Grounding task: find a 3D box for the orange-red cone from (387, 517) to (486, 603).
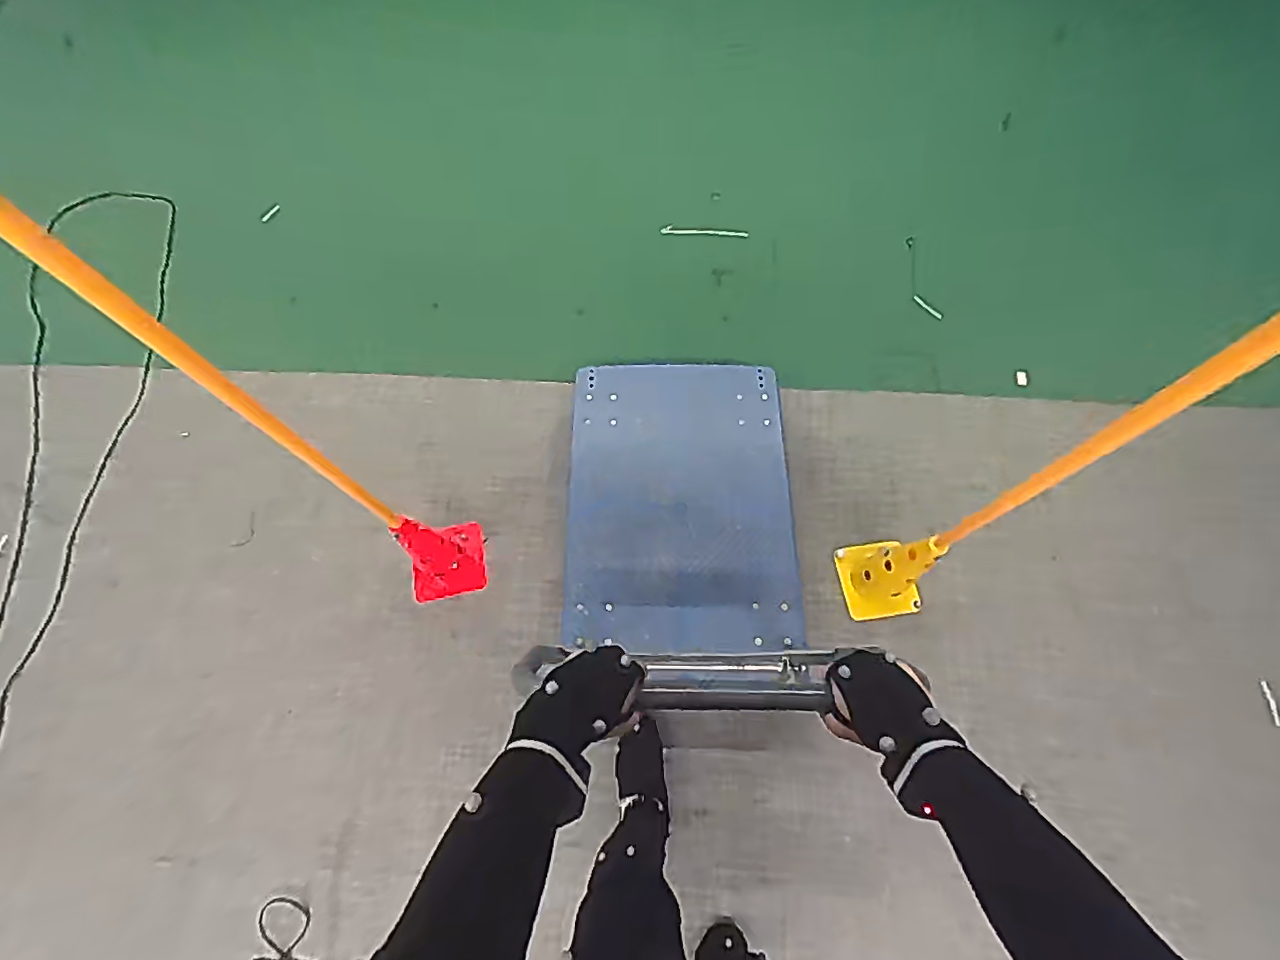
[{"bbox_3d":[-0.537,0.168,1.348,0.199,0.360,0.198,-12,68,-3],"label":"orange-red cone"}]
